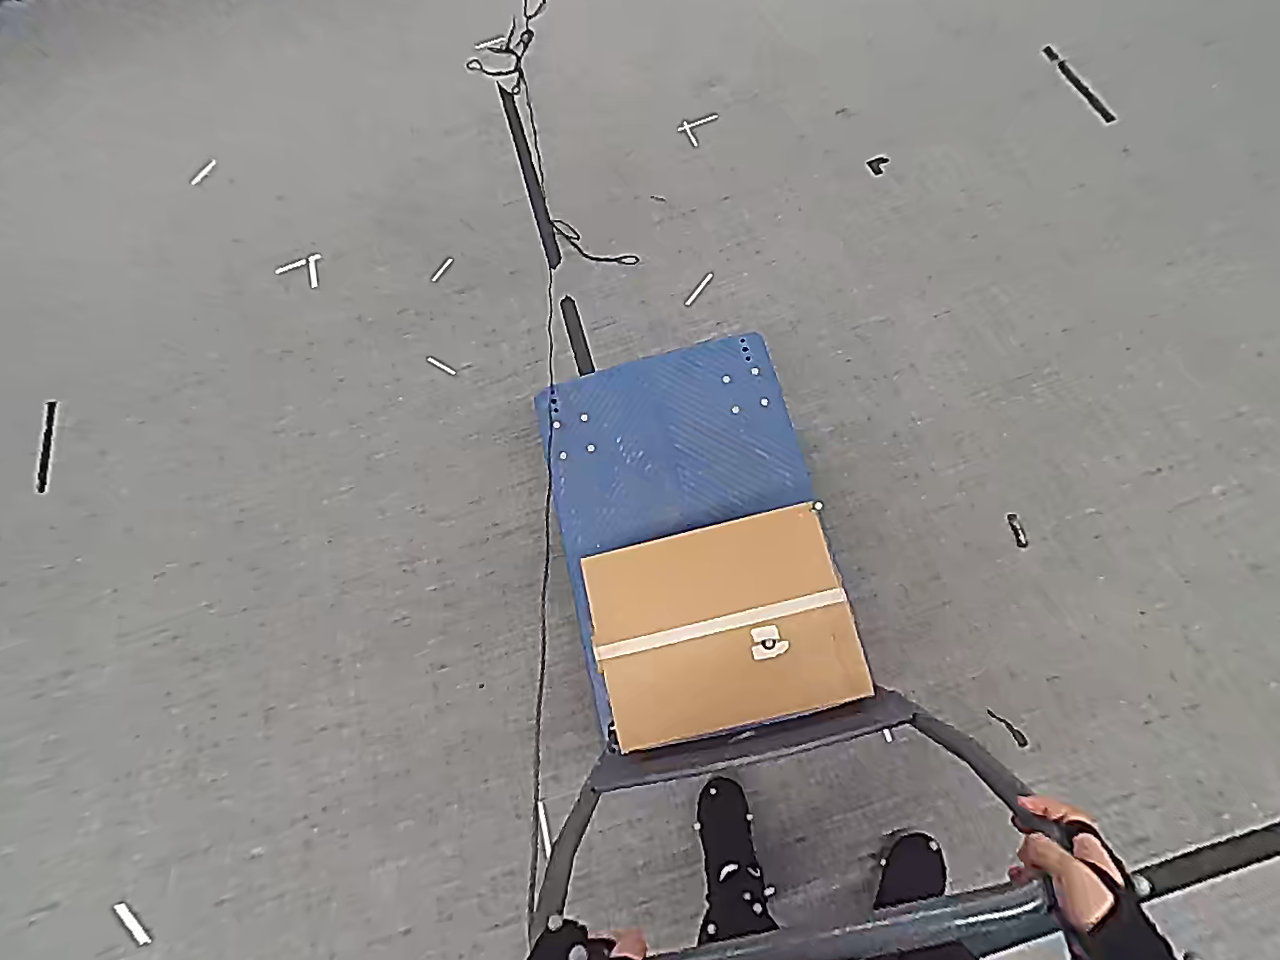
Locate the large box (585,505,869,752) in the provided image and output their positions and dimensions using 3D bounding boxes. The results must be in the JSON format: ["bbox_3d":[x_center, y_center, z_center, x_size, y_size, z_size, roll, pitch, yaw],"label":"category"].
[{"bbox_3d":[0.145,0.270,1.024,0.408,0.320,0.320,-15,77,2],"label":"large box"}]
